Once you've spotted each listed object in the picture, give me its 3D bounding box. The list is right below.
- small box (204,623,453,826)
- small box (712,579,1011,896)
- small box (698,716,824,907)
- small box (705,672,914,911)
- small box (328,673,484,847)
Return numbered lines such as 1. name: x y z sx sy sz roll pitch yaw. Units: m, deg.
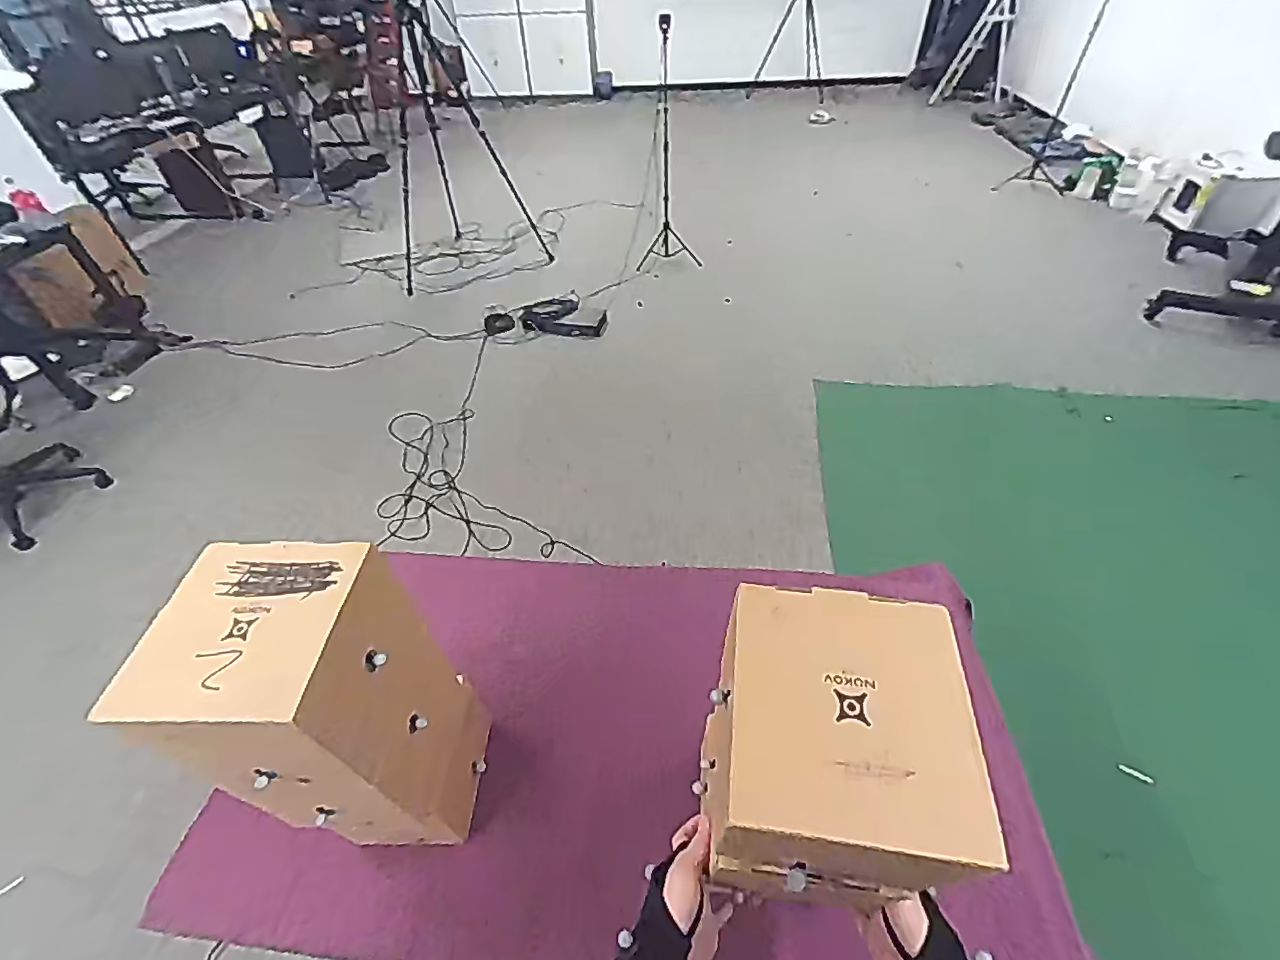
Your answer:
1. small box: -0.336 0.288 0.633 0.168 0.176 0.179 0 45 2
2. small box: 0.150 0.206 0.434 0.168 0.176 0.179 6 50 8
3. small box: 0.161 0.420 0.683 0.168 0.176 0.179 2 49 5
4. small box: 0.157 0.317 0.554 0.168 0.176 0.179 5 48 6
5. small box: -0.331 0.392 0.762 0.168 0.176 0.179 -1 45 2
